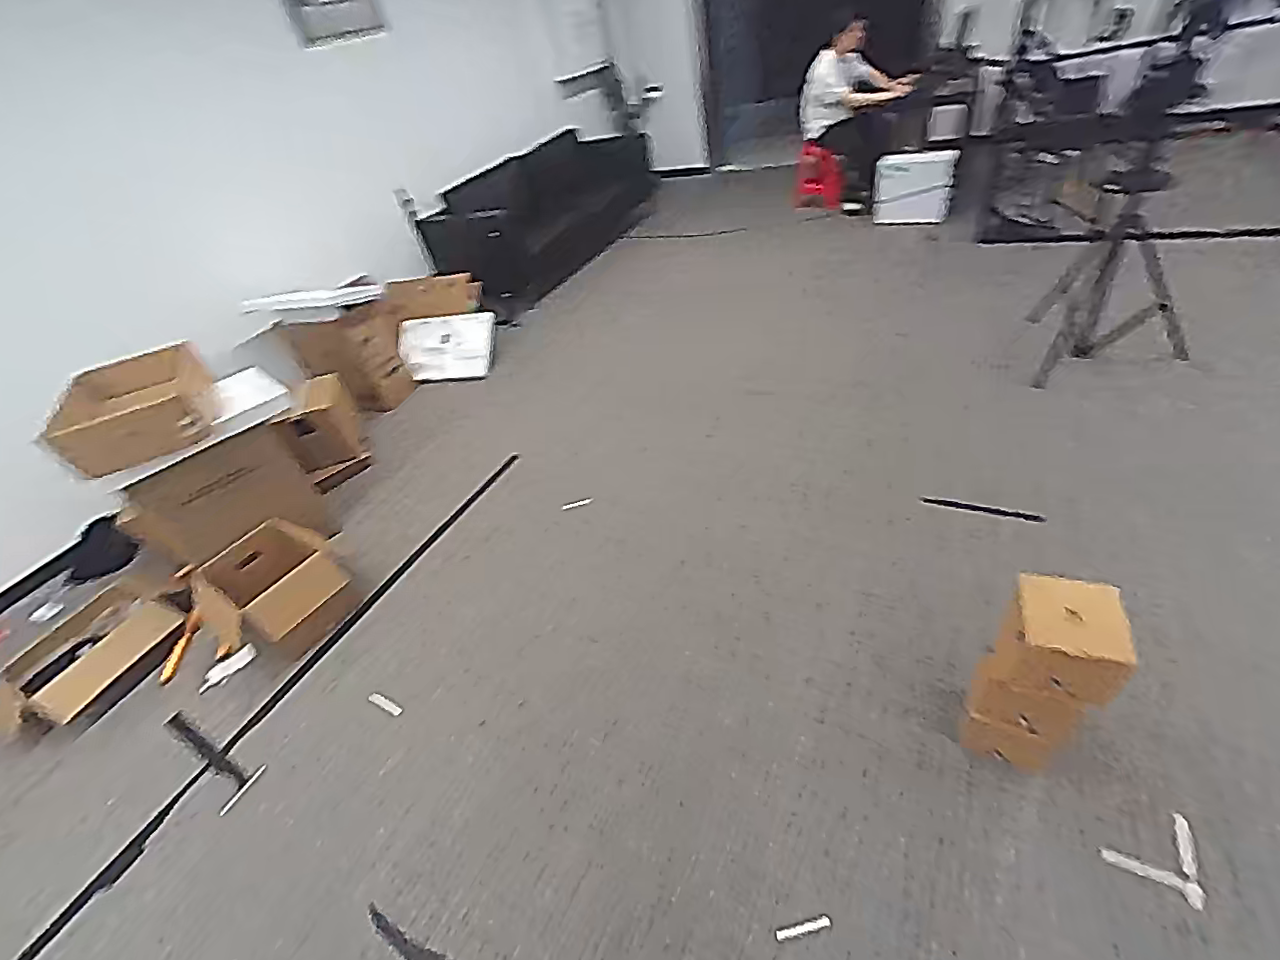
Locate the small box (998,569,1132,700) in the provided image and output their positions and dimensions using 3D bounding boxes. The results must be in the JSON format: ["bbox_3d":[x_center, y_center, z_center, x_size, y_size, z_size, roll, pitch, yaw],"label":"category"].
[{"bbox_3d":[0.843,0.310,1.095,0.168,0.176,0.179,5,44,23],"label":"small box"}]

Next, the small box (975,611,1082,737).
[{"bbox_3d":[0.864,0.430,1.204,0.168,0.176,0.179,14,48,32],"label":"small box"}]
